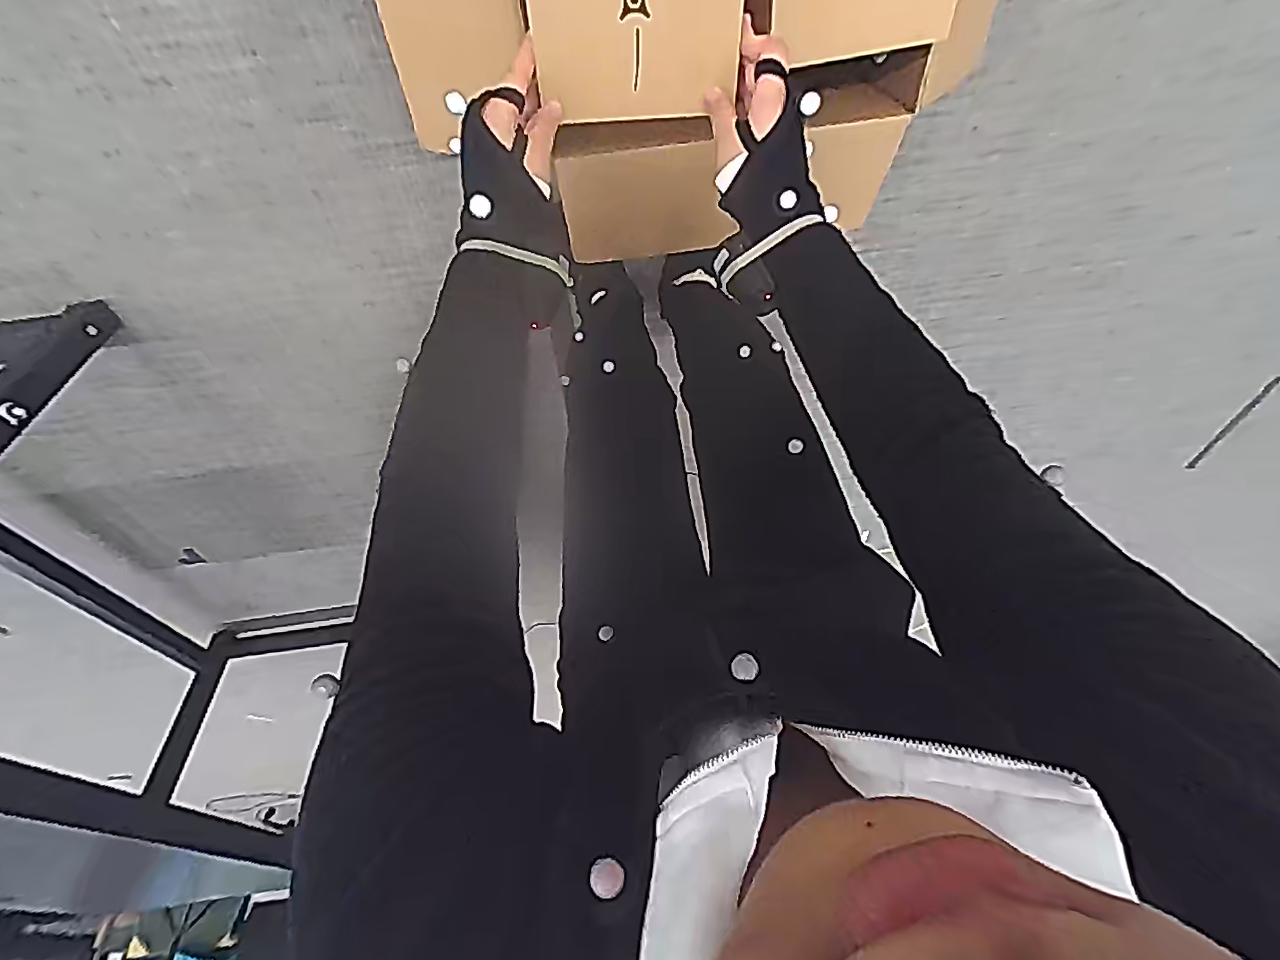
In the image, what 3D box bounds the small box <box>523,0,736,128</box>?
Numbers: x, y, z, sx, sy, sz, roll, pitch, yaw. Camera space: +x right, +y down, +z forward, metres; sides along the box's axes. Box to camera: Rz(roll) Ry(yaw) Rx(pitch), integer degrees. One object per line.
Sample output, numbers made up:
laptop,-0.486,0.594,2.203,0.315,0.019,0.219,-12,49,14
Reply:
small box,-0.013,-0.426,0.457,0.168,0.176,0.179,-4,139,-1
